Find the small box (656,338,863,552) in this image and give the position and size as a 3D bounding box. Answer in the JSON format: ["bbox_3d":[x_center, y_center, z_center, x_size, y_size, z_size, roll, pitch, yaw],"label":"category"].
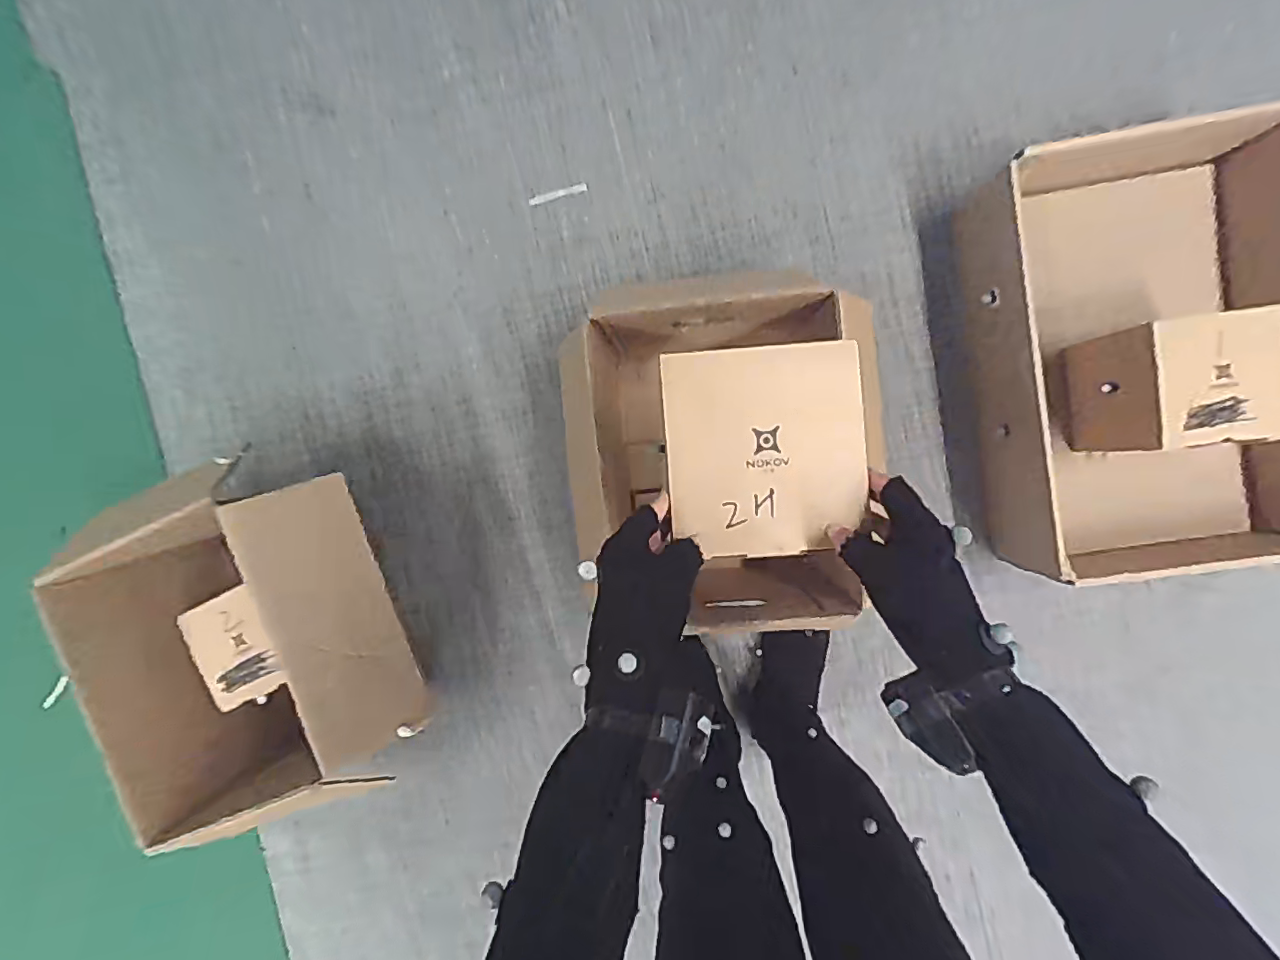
[{"bbox_3d":[0.104,-0.030,0.540,0.168,0.176,0.179,-5,91,1],"label":"small box"}]

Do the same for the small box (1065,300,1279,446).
[{"bbox_3d":[0.767,-0.143,0.789,0.168,0.176,0.179,-6,91,4],"label":"small box"}]
